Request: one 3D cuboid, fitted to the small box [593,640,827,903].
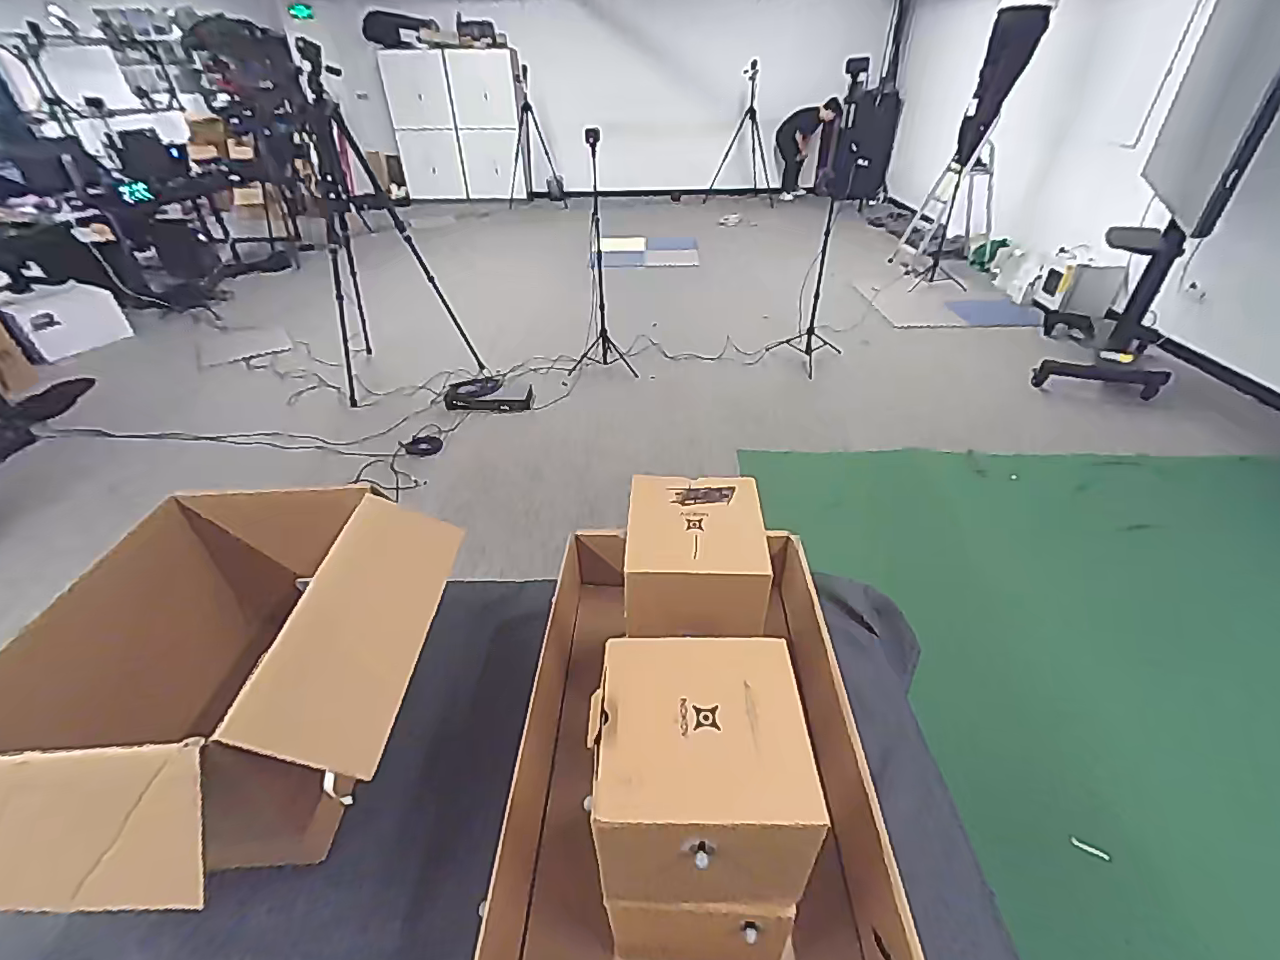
[{"bbox_3d":[0.055,0.270,0.506,0.179,0.176,0.168,0,36,1],"label":"small box"}]

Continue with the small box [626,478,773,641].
[{"bbox_3d":[0.071,0.117,0.708,0.168,0.176,0.179,1,38,3],"label":"small box"}]
